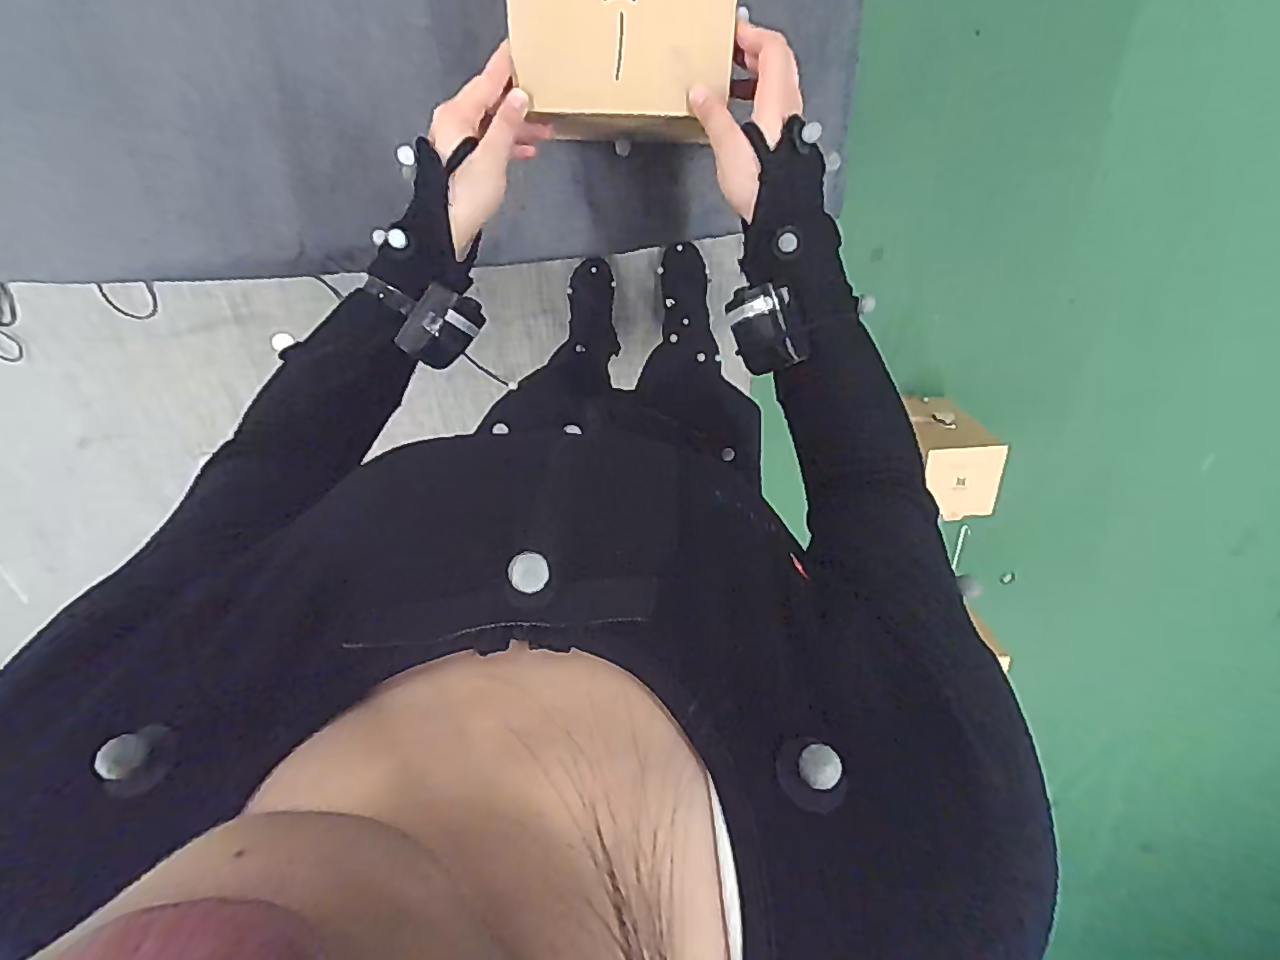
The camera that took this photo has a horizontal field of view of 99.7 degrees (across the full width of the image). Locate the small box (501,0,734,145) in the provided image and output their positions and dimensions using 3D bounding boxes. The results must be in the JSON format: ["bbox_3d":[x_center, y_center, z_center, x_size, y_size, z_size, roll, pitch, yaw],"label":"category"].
[{"bbox_3d":[-0.012,-0.387,0.440,0.168,0.176,0.179,3,117,2],"label":"small box"}]

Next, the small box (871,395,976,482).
[{"bbox_3d":[0.713,-0.102,1.388,0.168,0.176,0.179,4,118,0],"label":"small box"}]

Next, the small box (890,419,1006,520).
[{"bbox_3d":[0.695,-0.027,1.245,0.168,0.176,0.179,-4,117,4],"label":"small box"}]
